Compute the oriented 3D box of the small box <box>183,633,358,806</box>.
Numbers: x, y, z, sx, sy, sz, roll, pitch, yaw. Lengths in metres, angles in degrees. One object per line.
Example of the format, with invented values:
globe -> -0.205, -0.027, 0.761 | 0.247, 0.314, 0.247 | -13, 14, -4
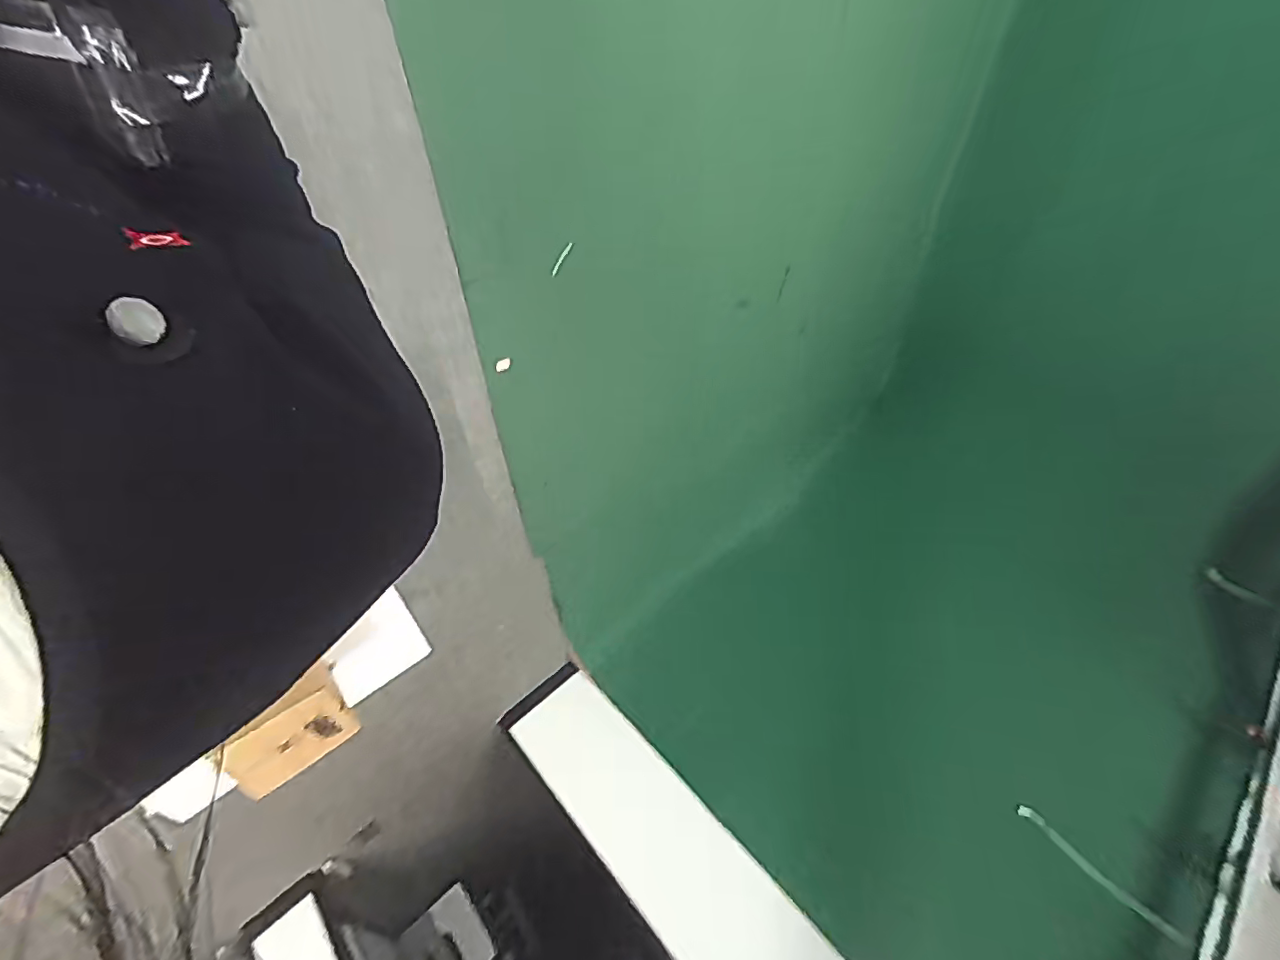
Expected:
small box -> -0.622, 0.396, 0.917 | 0.179, 0.176, 0.168 | -31, 140, -30
